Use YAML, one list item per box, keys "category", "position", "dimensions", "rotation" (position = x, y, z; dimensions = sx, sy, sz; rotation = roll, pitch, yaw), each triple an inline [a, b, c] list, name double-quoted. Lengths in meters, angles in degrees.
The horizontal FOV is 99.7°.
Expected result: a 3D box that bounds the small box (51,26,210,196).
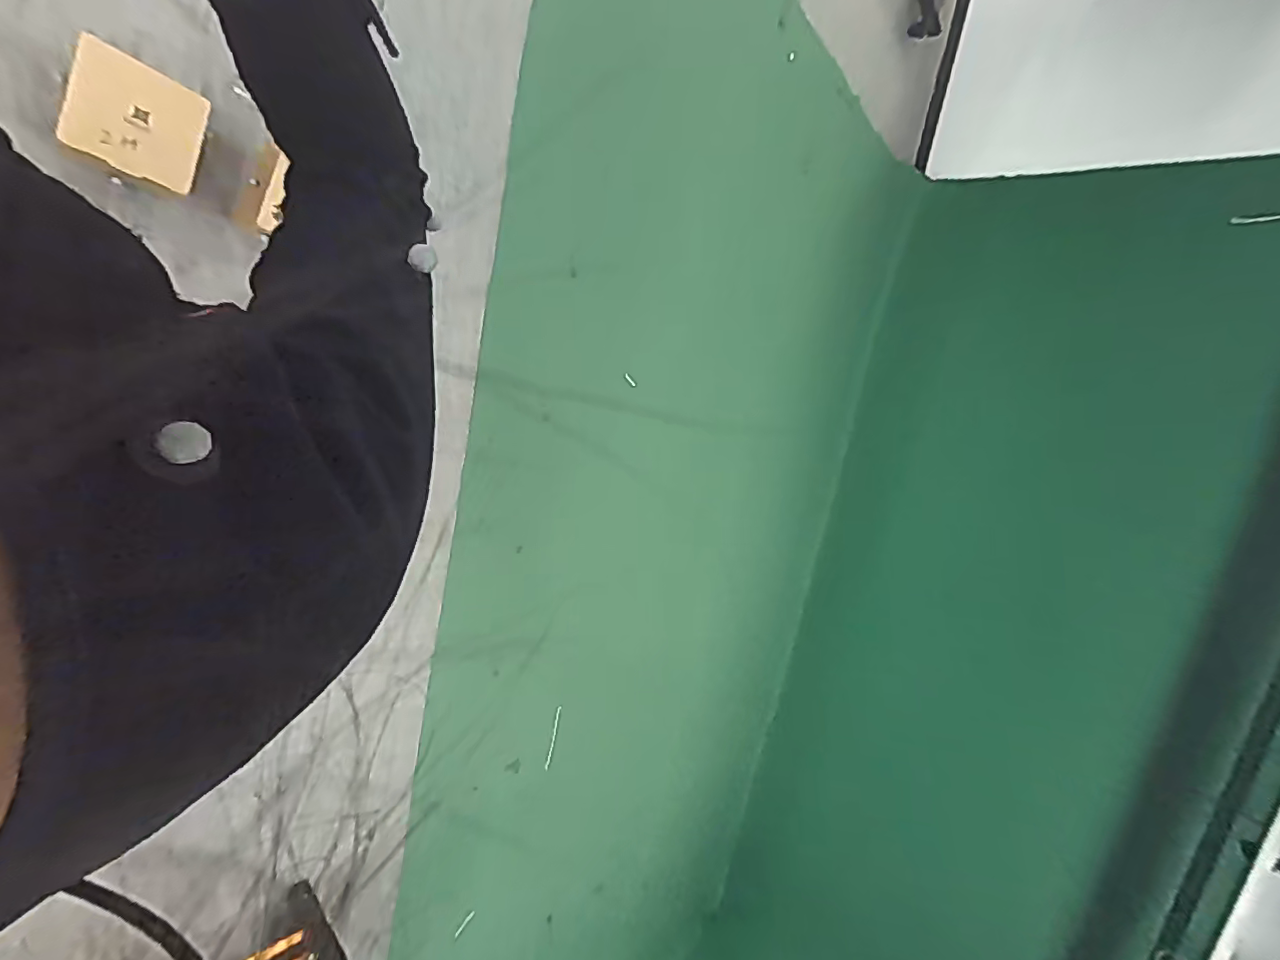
- category: "small box"
  position: [-0.893, -0.627, 0.946]
  dimensions: [0.168, 0.176, 0.179]
  rotation: [14, 95, -51]
